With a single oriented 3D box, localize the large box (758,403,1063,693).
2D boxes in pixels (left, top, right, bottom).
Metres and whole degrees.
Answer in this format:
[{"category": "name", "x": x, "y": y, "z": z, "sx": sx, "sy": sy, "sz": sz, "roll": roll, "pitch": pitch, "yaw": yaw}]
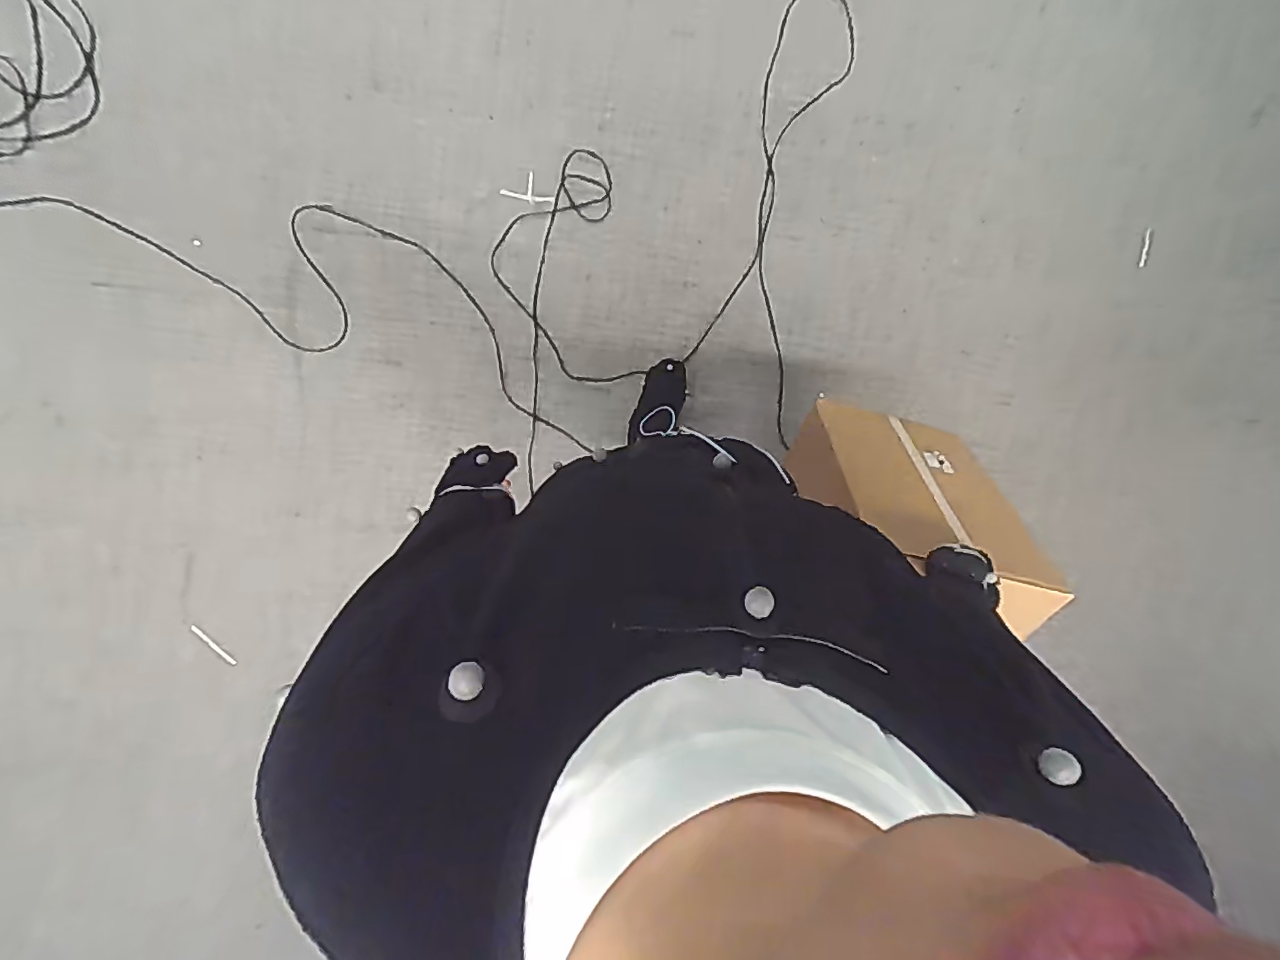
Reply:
[{"category": "large box", "x": 0.435, "y": 0.117, "z": 1.000, "sx": 0.320, "sy": 0.408, "sz": 0.320, "roll": 14, "pitch": 127, "yaw": -6}]
